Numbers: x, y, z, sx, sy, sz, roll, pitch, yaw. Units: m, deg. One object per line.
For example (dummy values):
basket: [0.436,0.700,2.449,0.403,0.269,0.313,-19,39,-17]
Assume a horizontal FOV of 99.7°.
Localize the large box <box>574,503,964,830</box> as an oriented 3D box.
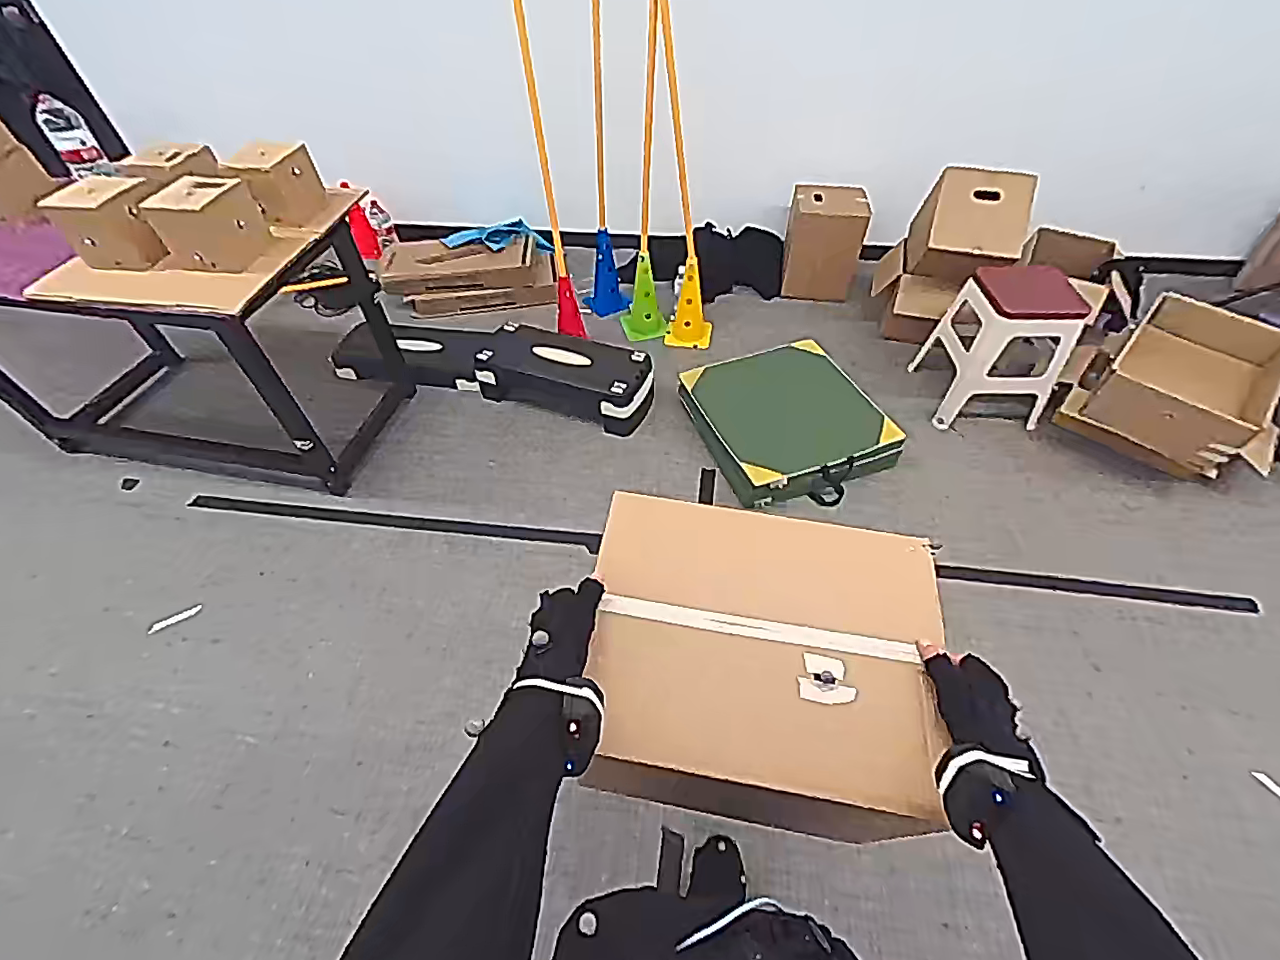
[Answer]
large box: [0.142,0.265,0.751,0.408,0.320,0.320,9,55,4]
